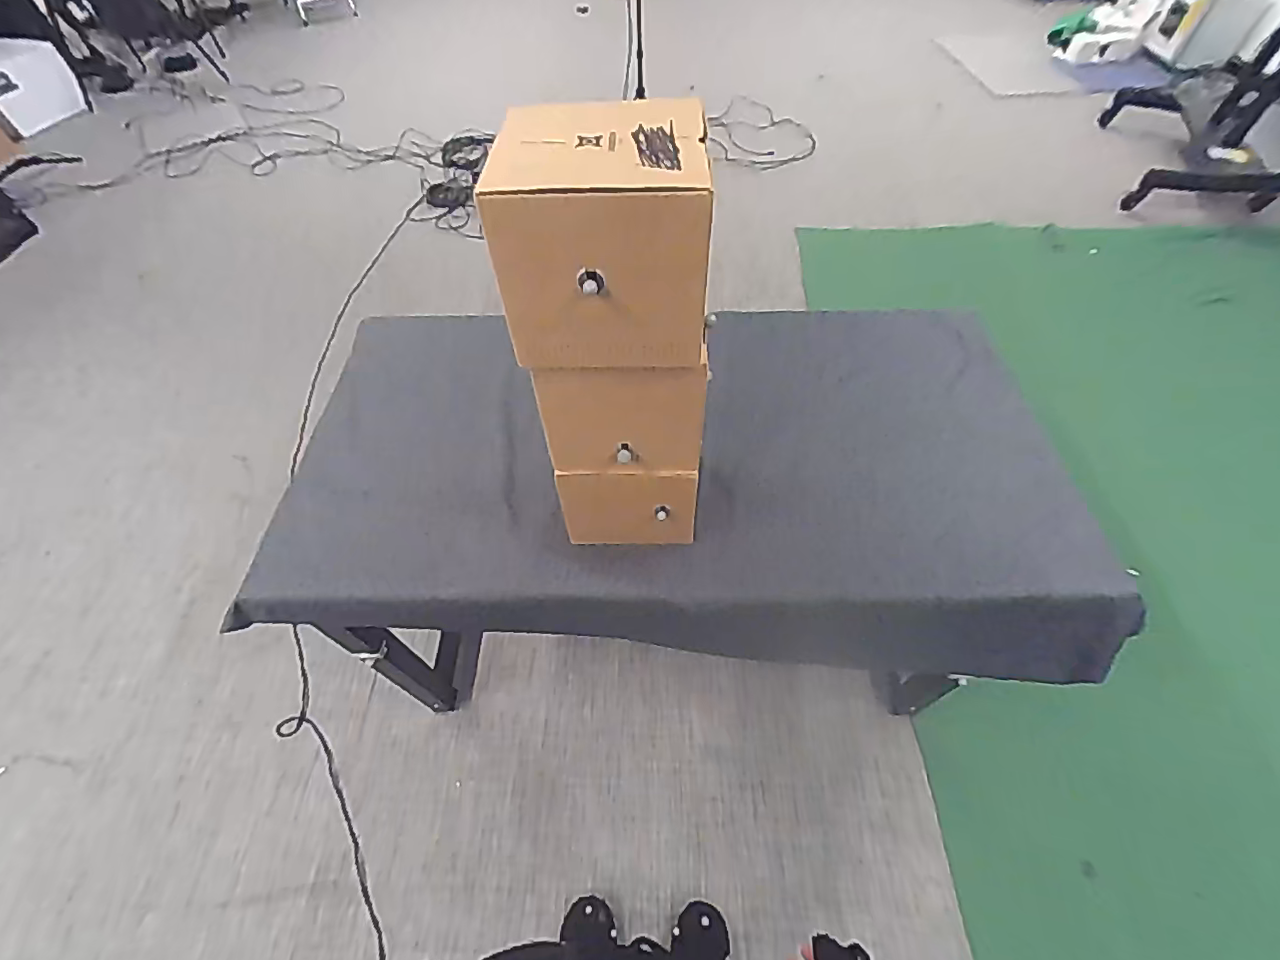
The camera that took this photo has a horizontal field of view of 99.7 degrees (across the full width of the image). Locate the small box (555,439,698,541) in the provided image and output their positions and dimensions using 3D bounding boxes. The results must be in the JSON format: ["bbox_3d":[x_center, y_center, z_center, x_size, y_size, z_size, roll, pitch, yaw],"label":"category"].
[{"bbox_3d":[-0.013,-0.024,0.764,0.179,0.176,0.168,-2,53,3],"label":"small box"}]

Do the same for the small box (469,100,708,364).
[{"bbox_3d":[-0.032,-0.223,0.501,0.179,0.176,0.168,3,52,4],"label":"small box"}]

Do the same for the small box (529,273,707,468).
[{"bbox_3d":[-0.019,-0.127,0.637,0.179,0.176,0.168,0,53,2],"label":"small box"}]
